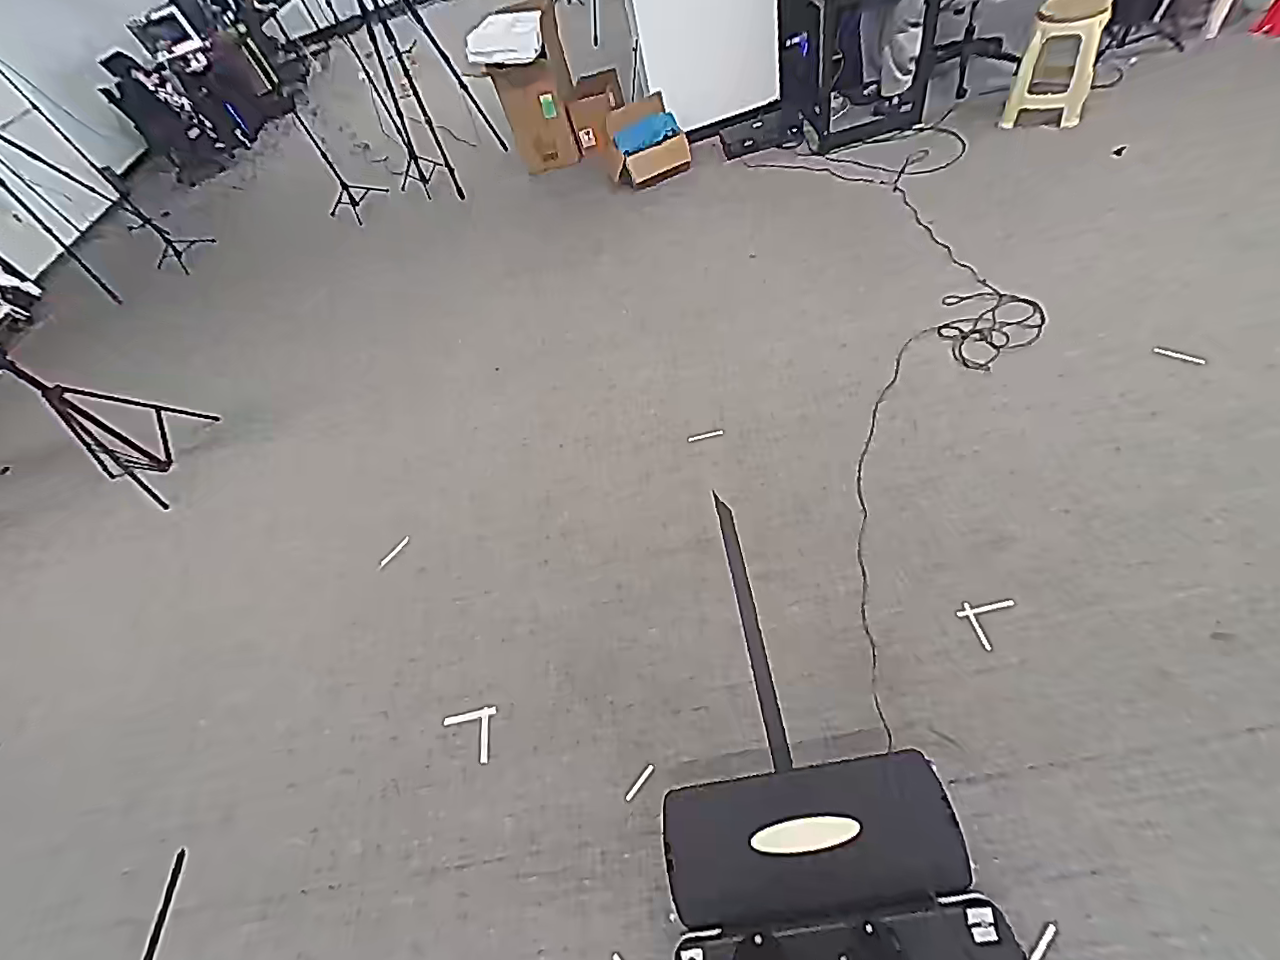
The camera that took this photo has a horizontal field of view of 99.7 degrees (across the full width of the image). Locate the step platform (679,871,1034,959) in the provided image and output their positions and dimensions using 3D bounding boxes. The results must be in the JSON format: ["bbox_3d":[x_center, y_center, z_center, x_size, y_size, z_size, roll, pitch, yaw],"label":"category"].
[{"bbox_3d":[0.422,1.009,1.084,0.684,0.204,0.286,-15,51,7],"label":"step platform"}]
